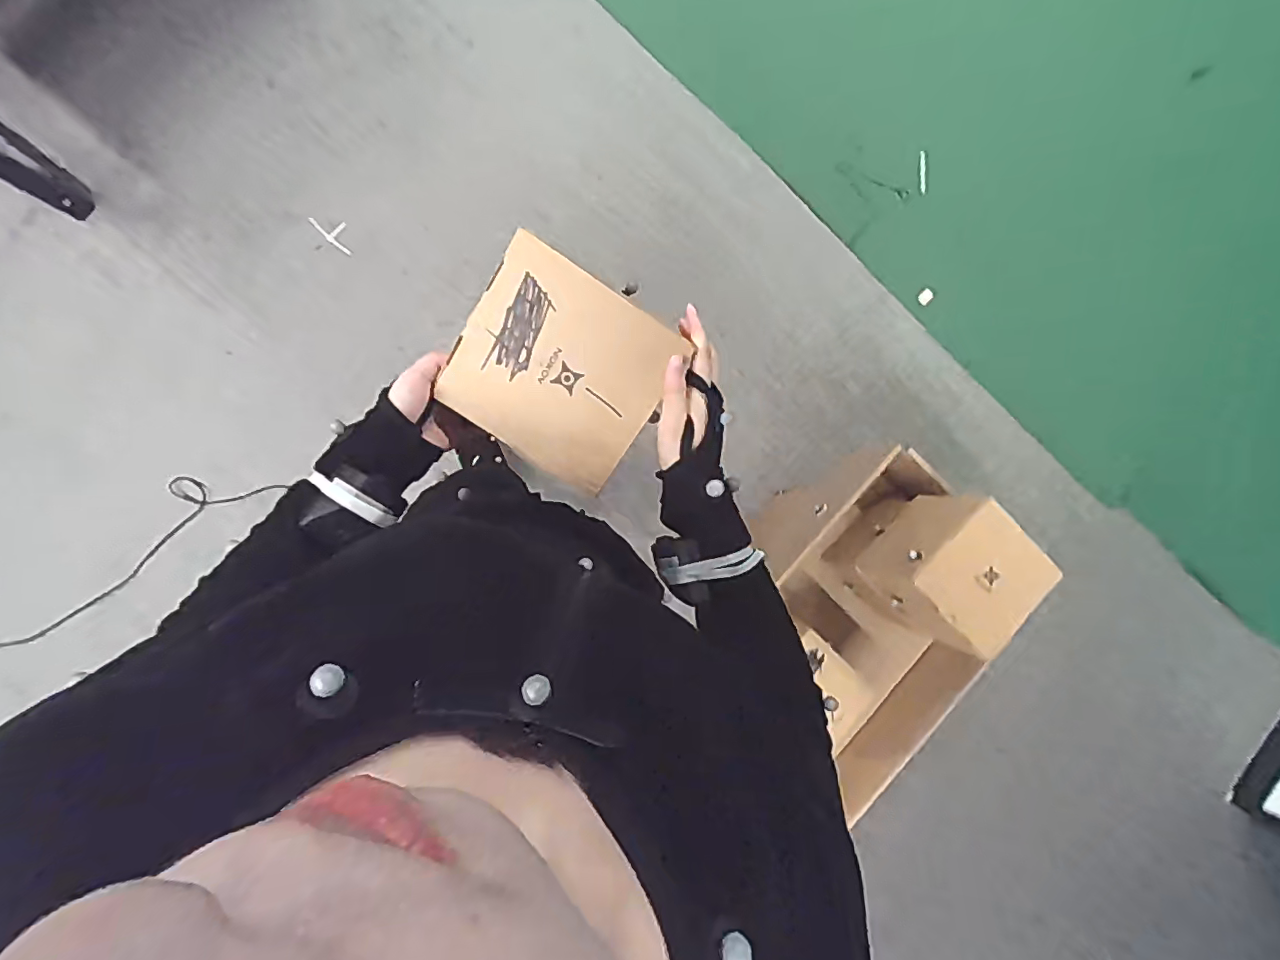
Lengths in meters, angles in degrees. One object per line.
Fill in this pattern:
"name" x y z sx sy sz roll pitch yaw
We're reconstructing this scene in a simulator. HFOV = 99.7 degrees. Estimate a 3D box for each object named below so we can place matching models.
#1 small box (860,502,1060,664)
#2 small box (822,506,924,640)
"small box" 0.491 0.148 0.856 0.179 0.176 0.168 -44 94 -4
"small box" 0.482 0.162 1.018 0.179 0.176 0.168 -44 94 -4
